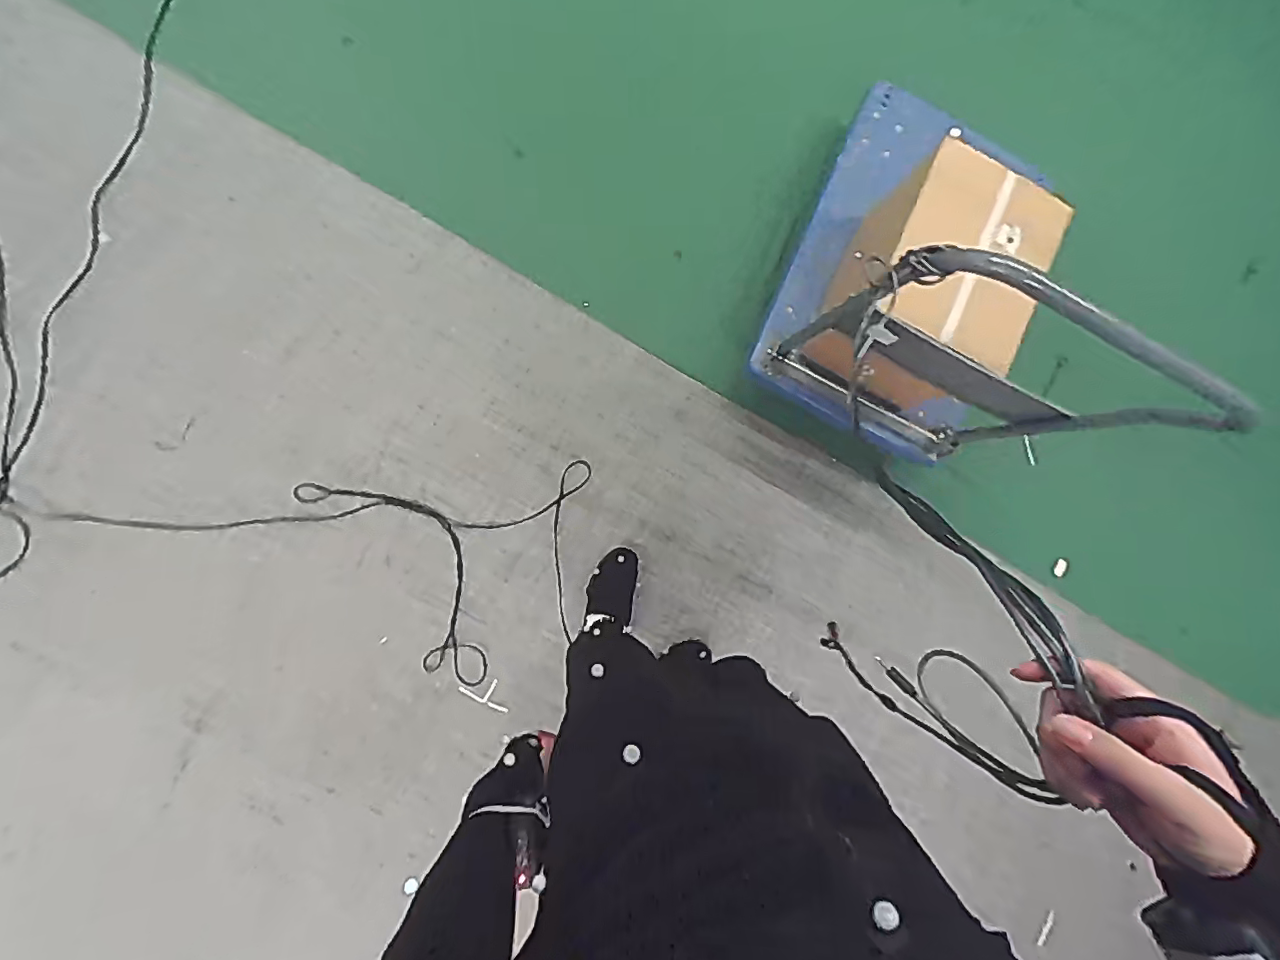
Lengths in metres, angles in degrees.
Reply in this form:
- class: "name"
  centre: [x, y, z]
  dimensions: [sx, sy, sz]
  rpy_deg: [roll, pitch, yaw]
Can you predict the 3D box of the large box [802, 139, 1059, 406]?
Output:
- class: "large box"
  centre: [0.629, -0.433, 1.223]
  dimensions: [0.320, 0.320, 0.408]
  rpy_deg: [26, 83, -7]
